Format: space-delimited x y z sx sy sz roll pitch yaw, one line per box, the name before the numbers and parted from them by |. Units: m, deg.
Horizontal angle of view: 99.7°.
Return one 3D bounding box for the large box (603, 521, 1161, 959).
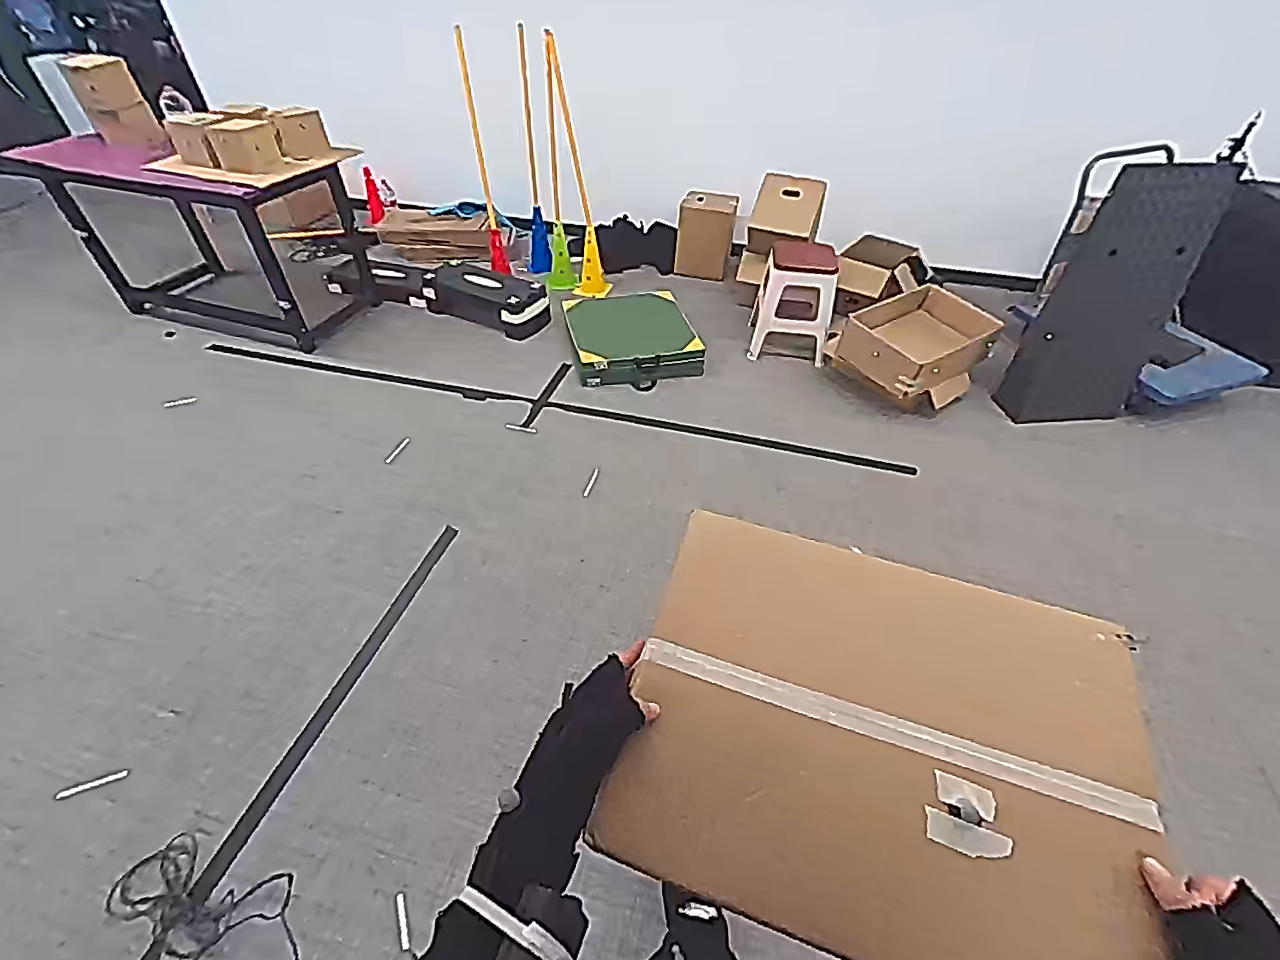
large box | 0.205 0.293 0.585 0.408 0.320 0.320 15 58 12
